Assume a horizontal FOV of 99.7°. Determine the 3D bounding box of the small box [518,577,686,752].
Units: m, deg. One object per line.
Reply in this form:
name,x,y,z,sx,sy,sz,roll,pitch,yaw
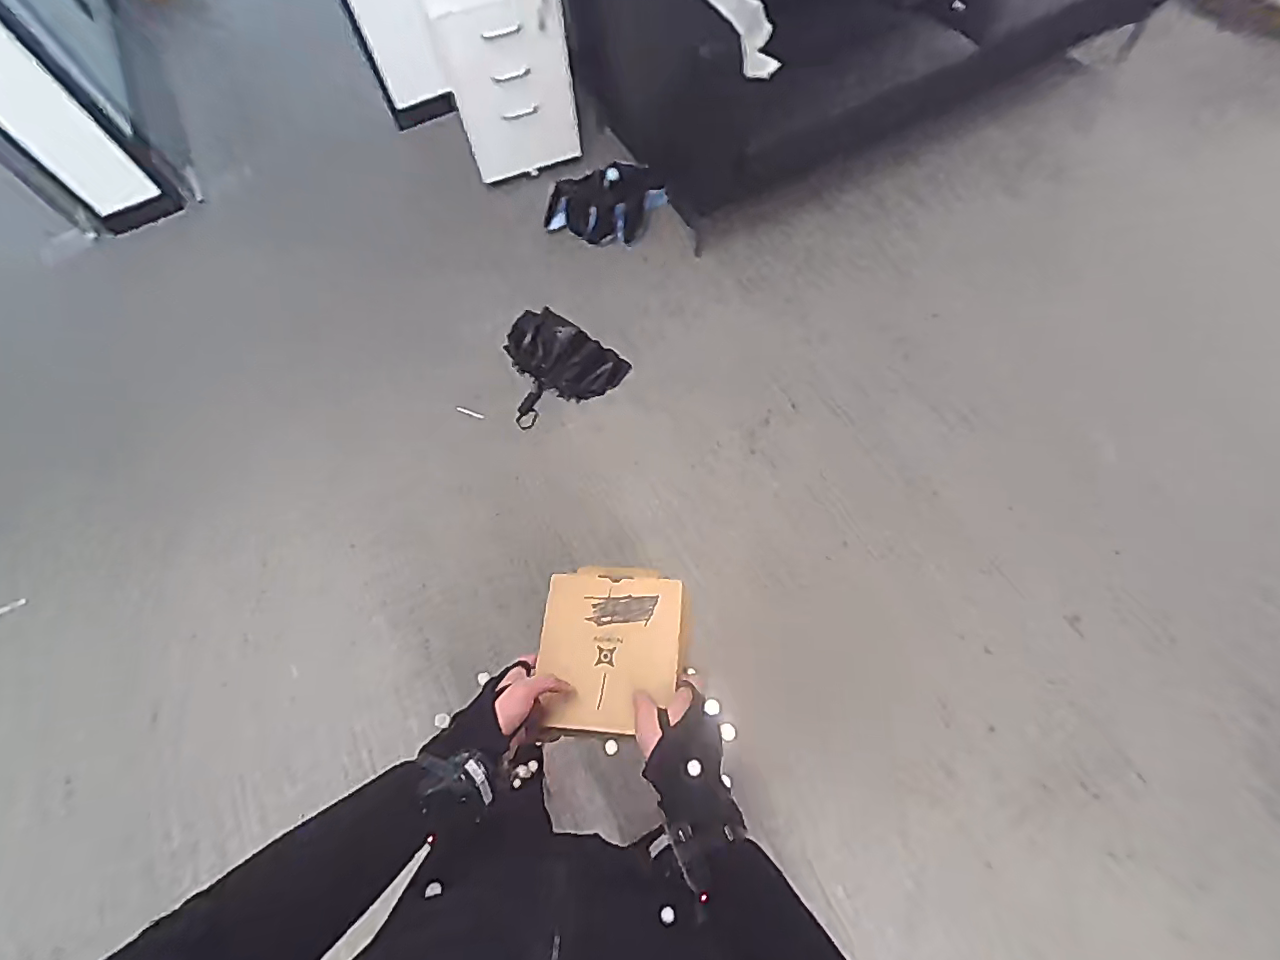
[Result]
small box,-0.034,0.235,0.685,0.168,0.176,0.179,-1,60,11
